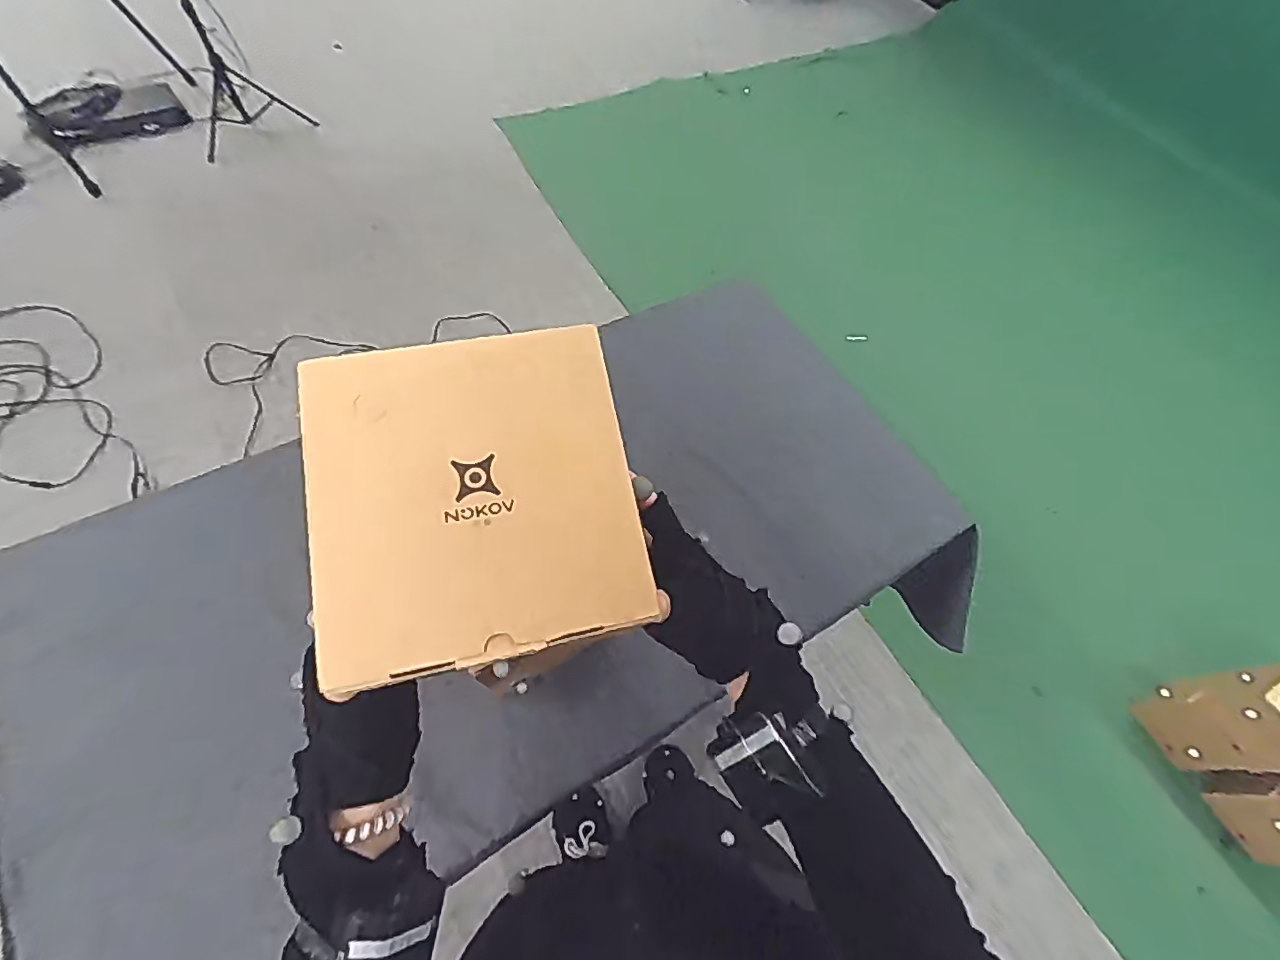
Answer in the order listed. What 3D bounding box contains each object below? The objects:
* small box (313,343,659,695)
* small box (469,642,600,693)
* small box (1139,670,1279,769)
[{"bbox_3d":[-0.097,0.034,0.370,0.168,0.176,0.179,-11,75,-11],"label":"small box"},{"bbox_3d":[-0.139,0.133,0.643,0.168,0.176,0.179,-27,66,-18],"label":"small box"},{"bbox_3d":[1.421,0.604,1.353,0.179,0.176,0.168,-22,65,-16],"label":"small box"}]
